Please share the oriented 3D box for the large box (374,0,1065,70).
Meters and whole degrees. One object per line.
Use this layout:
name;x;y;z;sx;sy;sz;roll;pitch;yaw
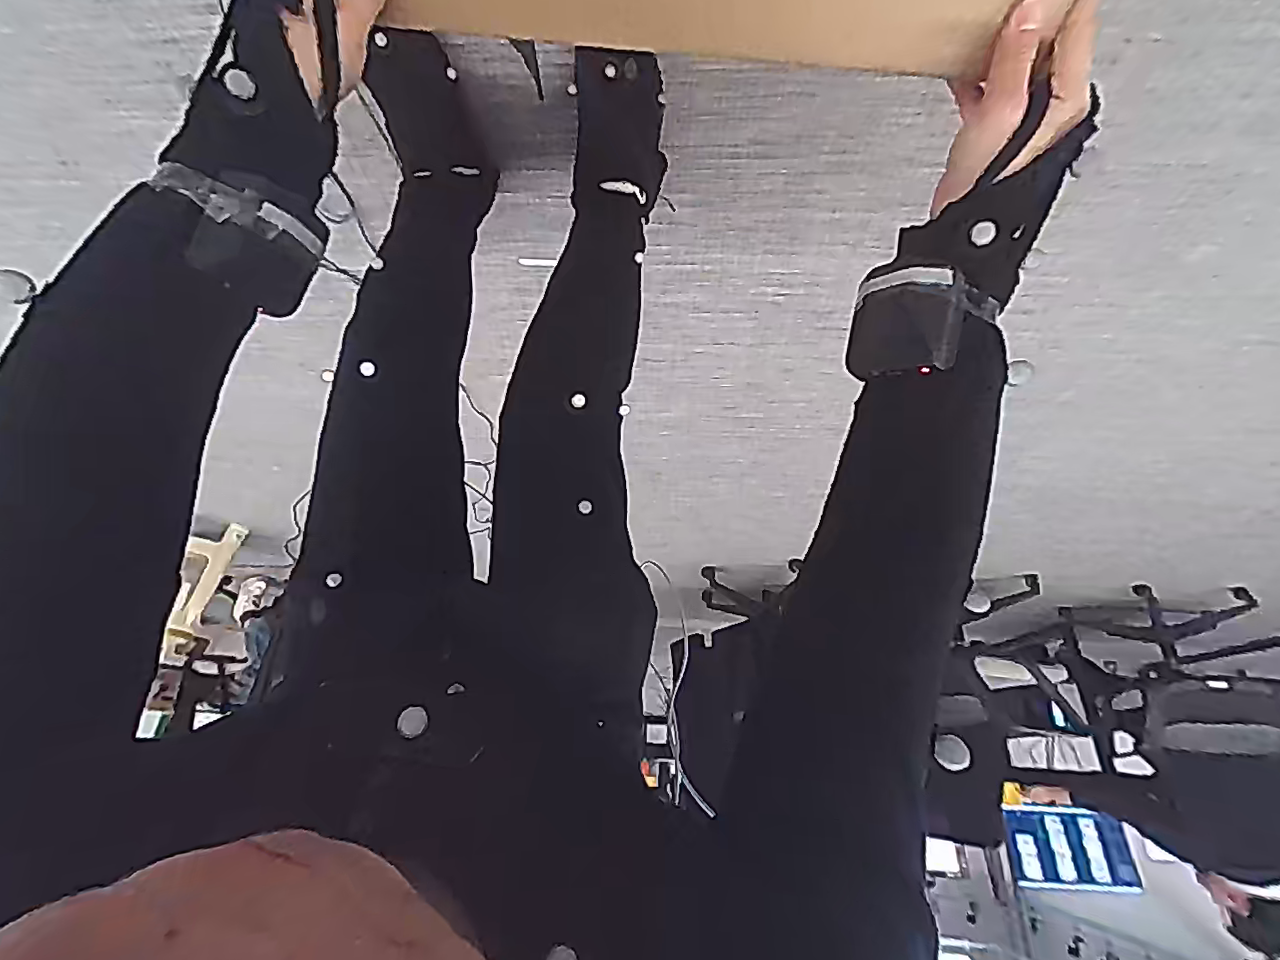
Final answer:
large box;0.053;-0.472;0.303;0.408;0.320;0.320;6;143;3
